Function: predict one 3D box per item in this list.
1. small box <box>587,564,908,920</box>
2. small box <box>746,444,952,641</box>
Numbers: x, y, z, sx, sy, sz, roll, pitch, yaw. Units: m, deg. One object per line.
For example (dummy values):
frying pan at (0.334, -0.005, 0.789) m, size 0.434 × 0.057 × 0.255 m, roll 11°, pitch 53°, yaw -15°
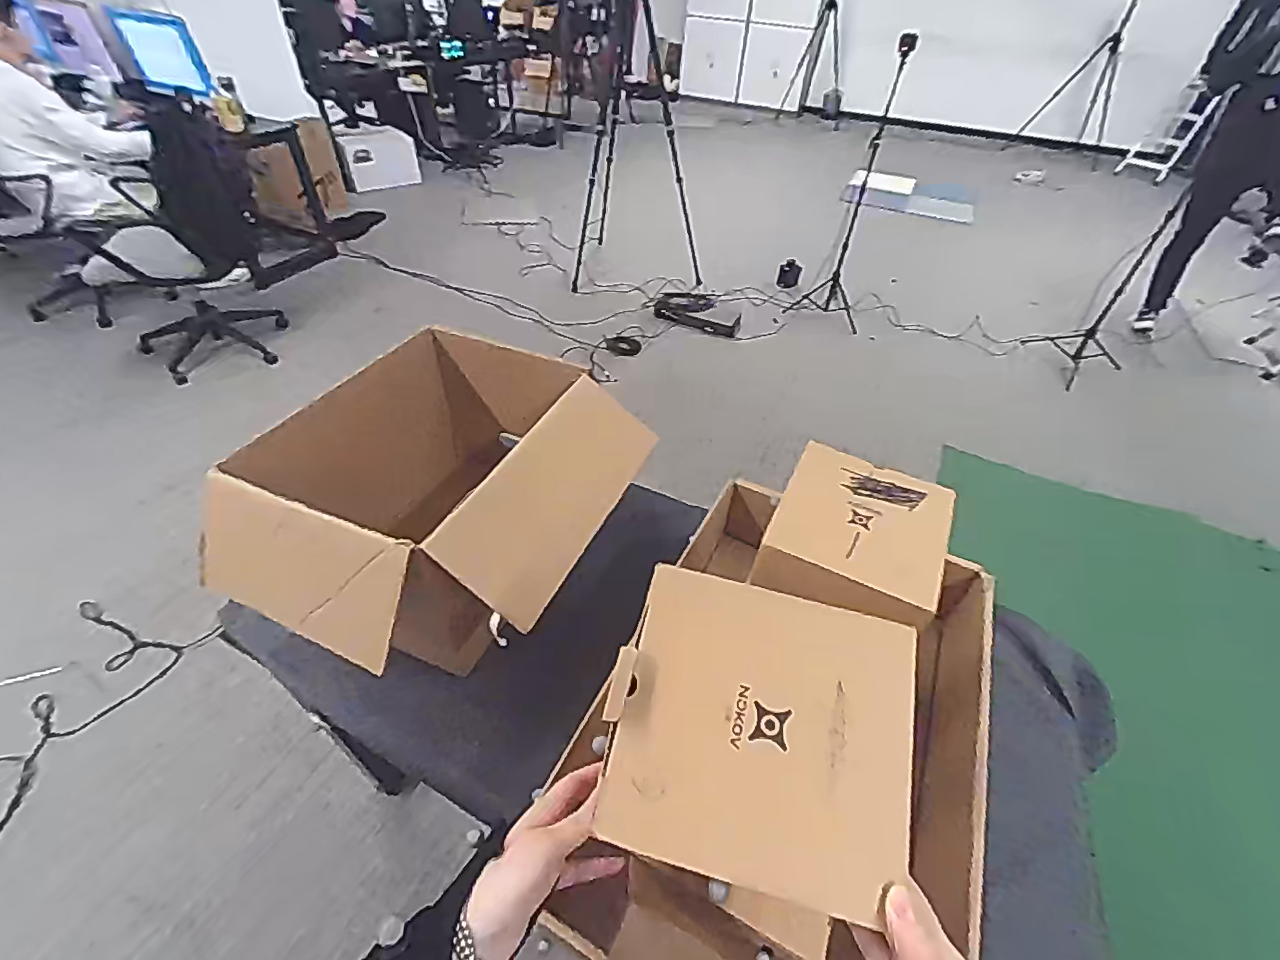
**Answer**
small box at (0.072, 0.181, 0.404) m, size 0.179 × 0.176 × 0.168 m, roll 14°, pitch 66°, yaw 5°
small box at (0.228, 0.095, 0.624) m, size 0.168 × 0.176 × 0.179 m, roll 23°, pitch 50°, yaw 18°
